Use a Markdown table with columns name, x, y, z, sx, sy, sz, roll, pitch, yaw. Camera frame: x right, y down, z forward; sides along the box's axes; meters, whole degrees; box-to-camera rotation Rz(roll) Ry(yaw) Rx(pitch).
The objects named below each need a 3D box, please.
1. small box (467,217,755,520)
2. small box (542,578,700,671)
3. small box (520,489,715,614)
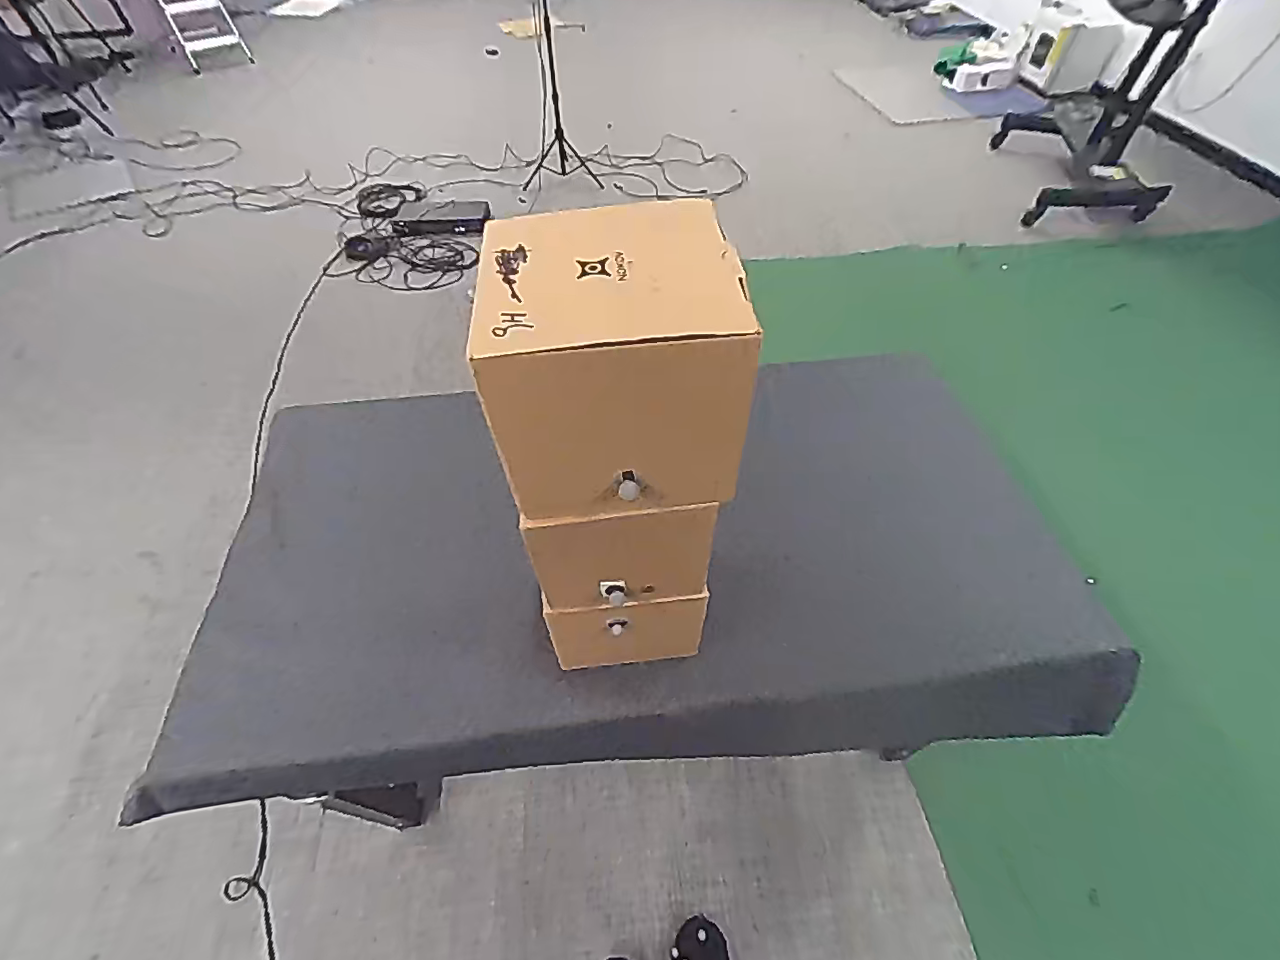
| name | x | y | z | sx | sy | sz | roll | pitch | yaw |
| --- | --- | --- | --- | --- | --- | --- | --- | --- | --- |
| small box | -0.023 | -0.085 | 0.432 | 0.179 | 0.176 | 0.168 | -5 | 51 | -3 |
| small box | -0.027 | 0.133 | 0.696 | 0.179 | 0.176 | 0.168 | -5 | 52 | -5 |
| small box | -0.027 | 0.016 | 0.561 | 0.168 | 0.176 | 0.179 | -8 | 53 | -4 |
